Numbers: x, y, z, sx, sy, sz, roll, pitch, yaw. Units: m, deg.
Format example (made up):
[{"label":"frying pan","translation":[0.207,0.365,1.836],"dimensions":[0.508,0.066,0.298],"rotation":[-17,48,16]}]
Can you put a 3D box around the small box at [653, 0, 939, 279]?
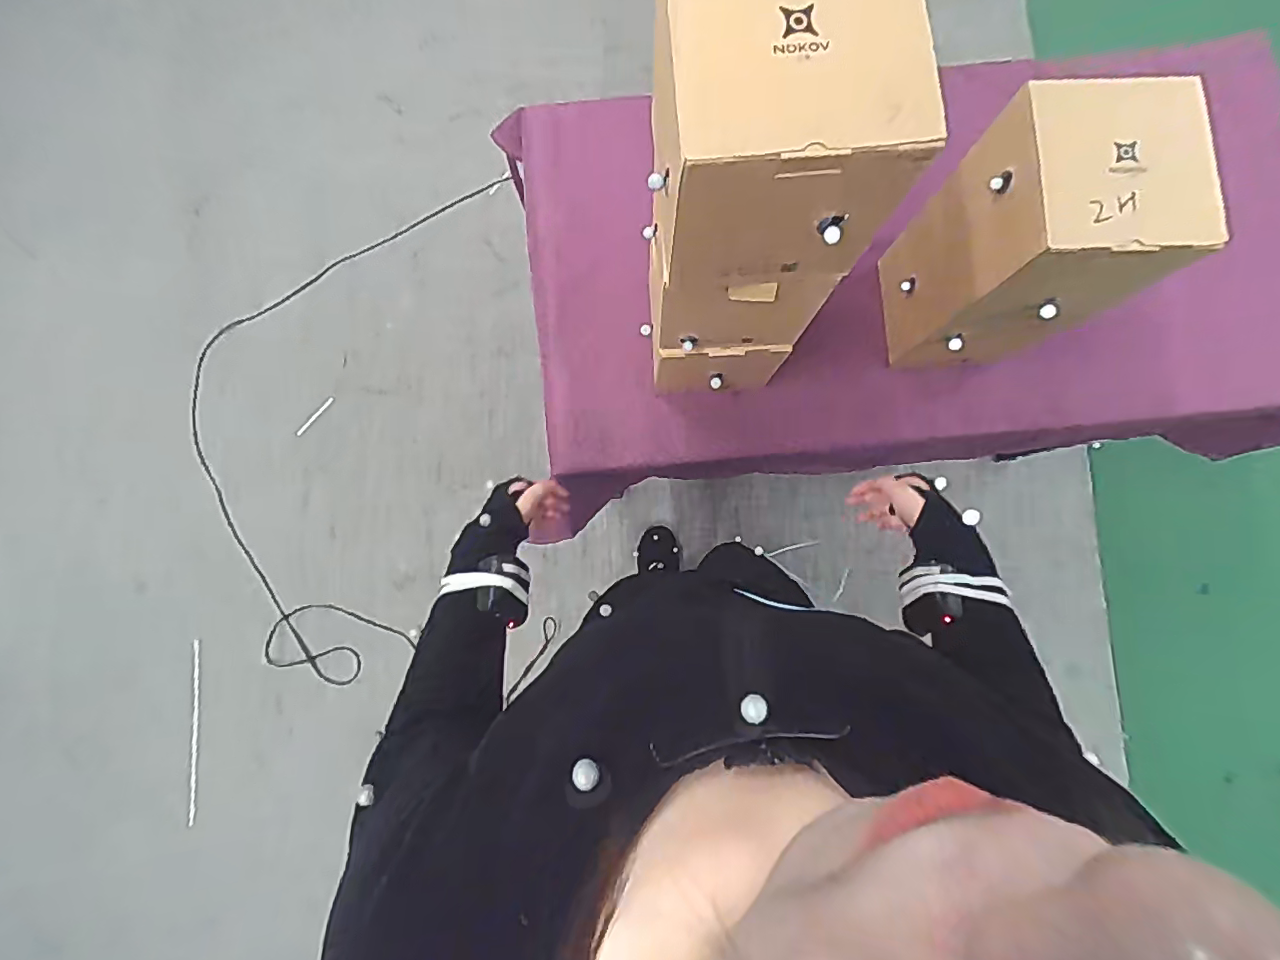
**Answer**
[{"label":"small box","translation":[0.099,-0.271,0.421],"dimensions":[0.168,0.176,0.179],"rotation":[-3,83,-2]}]

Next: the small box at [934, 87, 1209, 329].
[{"label":"small box","translation":[0.445,-0.281,0.590],"dimensions":[0.168,0.176,0.179],"rotation":[0,84,0]}]

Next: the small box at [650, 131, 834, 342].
[{"label":"small box","translation":[0.096,-0.257,0.584],"dimensions":[0.168,0.176,0.179],"rotation":[-1,83,-1]}]

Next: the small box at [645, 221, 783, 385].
[{"label":"small box","translation":[0.092,-0.233,0.747],"dimensions":[0.168,0.176,0.179],"rotation":[-2,85,-1]}]
